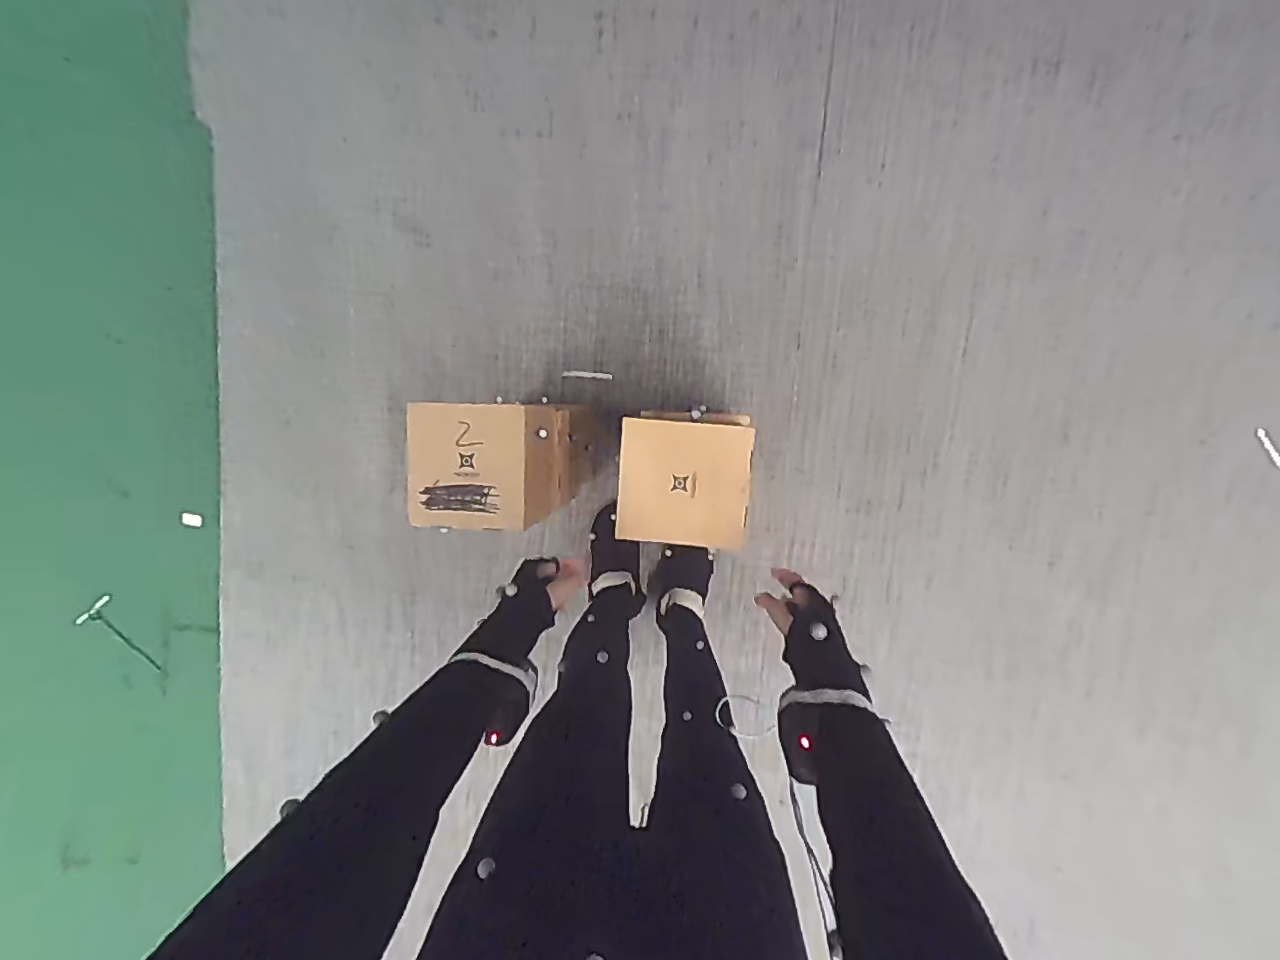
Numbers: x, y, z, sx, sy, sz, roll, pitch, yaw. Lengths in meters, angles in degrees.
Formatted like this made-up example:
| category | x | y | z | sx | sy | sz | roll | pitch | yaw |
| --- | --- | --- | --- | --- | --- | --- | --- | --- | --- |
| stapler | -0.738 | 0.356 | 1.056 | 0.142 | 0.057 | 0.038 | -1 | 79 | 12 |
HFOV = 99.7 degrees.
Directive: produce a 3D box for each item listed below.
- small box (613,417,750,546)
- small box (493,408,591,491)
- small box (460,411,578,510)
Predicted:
| category | x | y | z | sx | sy | sz | roll | pitch | yaw |
| --- | --- | --- | --- | --- | --- | --- | --- | --- | --- |
| small box | 0.061 | -0.005 | 0.812 | 0.179 | 0.176 | 0.168 | 5 | 96 | 3 |
| small box | -0.203 | -0.070 | 1.157 | 0.179 | 0.176 | 0.168 | 2 | 96 | 5 |
| small box | -0.214 | -0.042 | 0.997 | 0.179 | 0.176 | 0.168 | 2 | 96 | 5 |
